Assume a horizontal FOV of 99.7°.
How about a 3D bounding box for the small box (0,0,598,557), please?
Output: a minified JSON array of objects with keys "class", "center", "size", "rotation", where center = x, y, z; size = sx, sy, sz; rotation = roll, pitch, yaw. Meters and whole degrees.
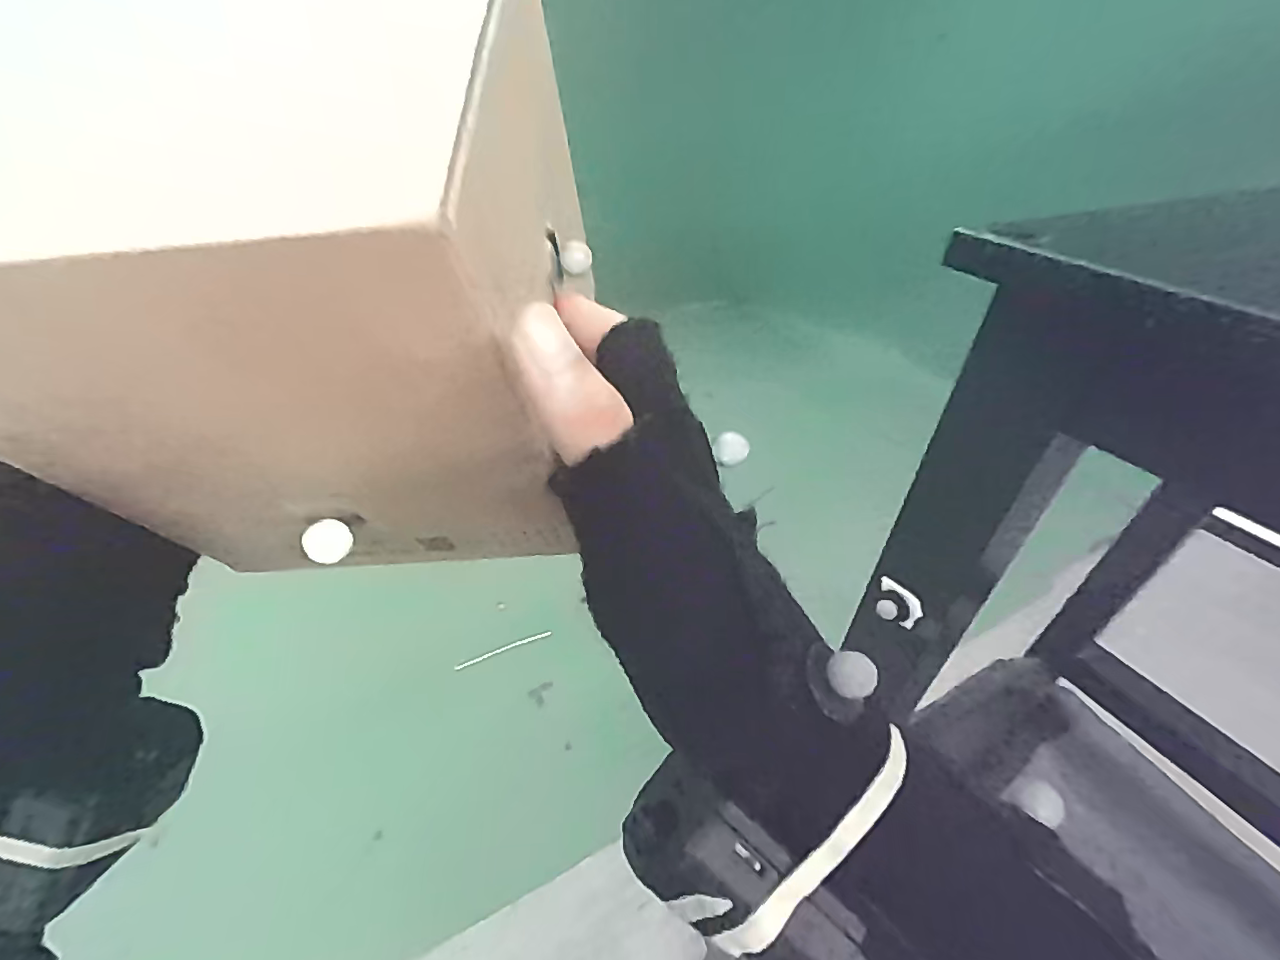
[{"class":"small box","center":[-0.112,-0.083,0.227],"size":[0.168,0.176,0.179],"rotation":[-4,60,3]}]
